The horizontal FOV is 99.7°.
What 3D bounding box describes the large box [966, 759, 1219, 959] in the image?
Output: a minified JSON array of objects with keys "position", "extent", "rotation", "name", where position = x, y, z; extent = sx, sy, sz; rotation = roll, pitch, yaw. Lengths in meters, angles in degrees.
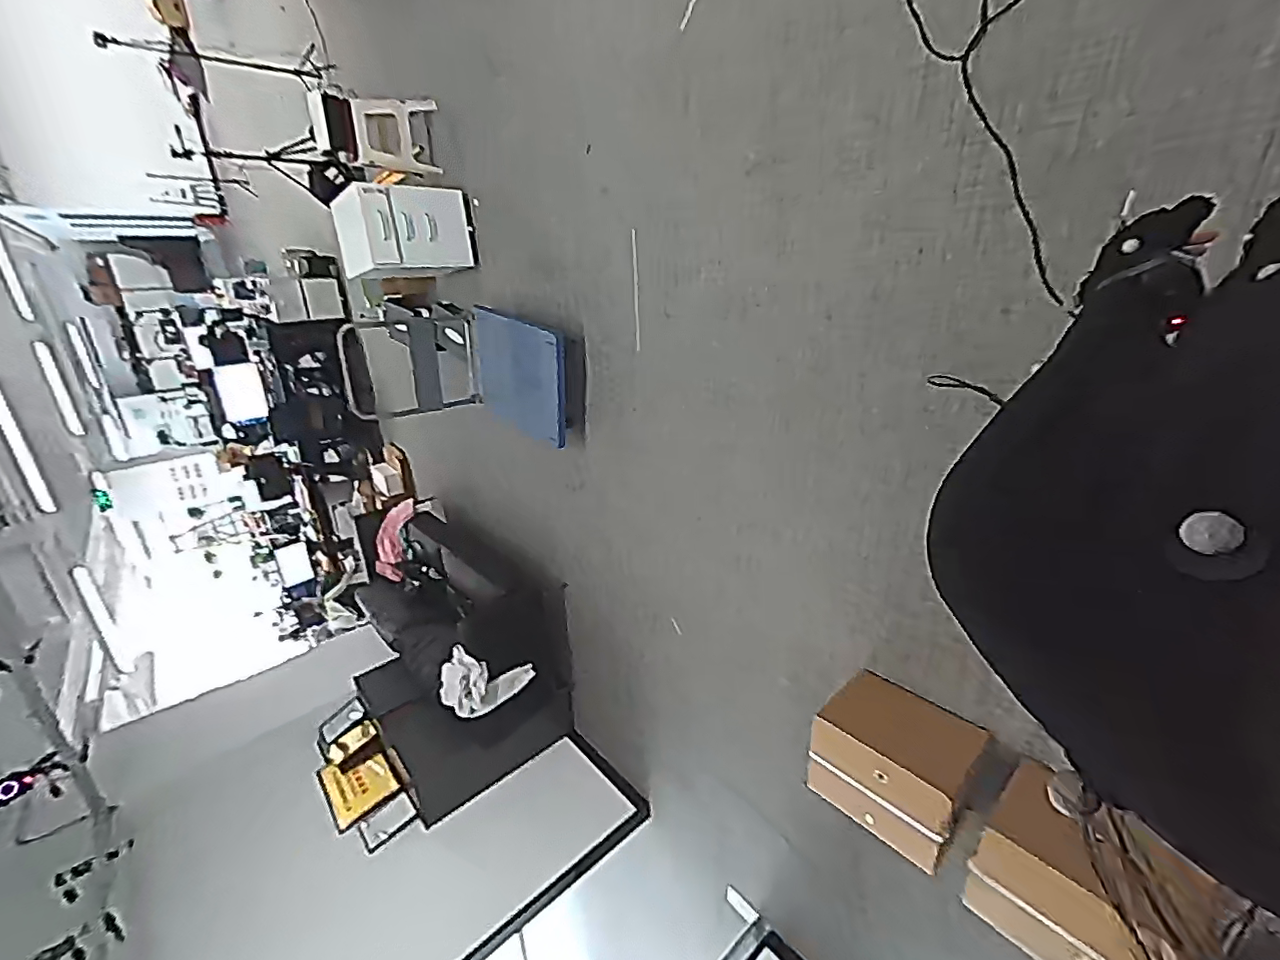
[{"position":[1.114,1.010,1.359],"extent":[0.408,0.320,0.320],"rotation":[22,121,42],"name":"large box"}]
